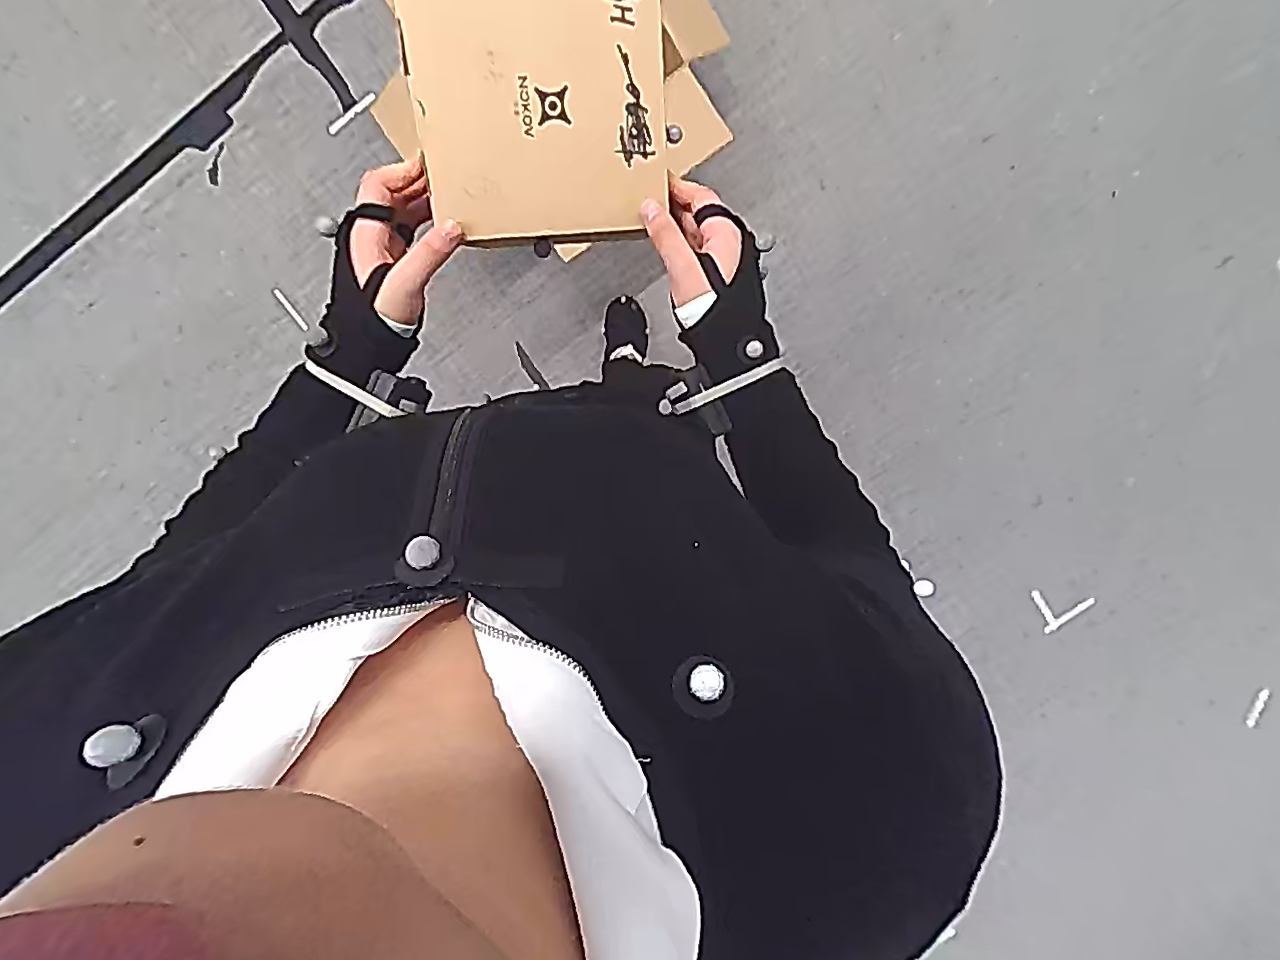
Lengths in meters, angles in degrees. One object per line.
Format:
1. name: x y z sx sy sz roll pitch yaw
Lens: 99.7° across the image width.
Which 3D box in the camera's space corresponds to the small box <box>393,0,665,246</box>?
1. small box: -0.075 -0.292 0.449 0.179 0.176 0.168 -5 111 -2
